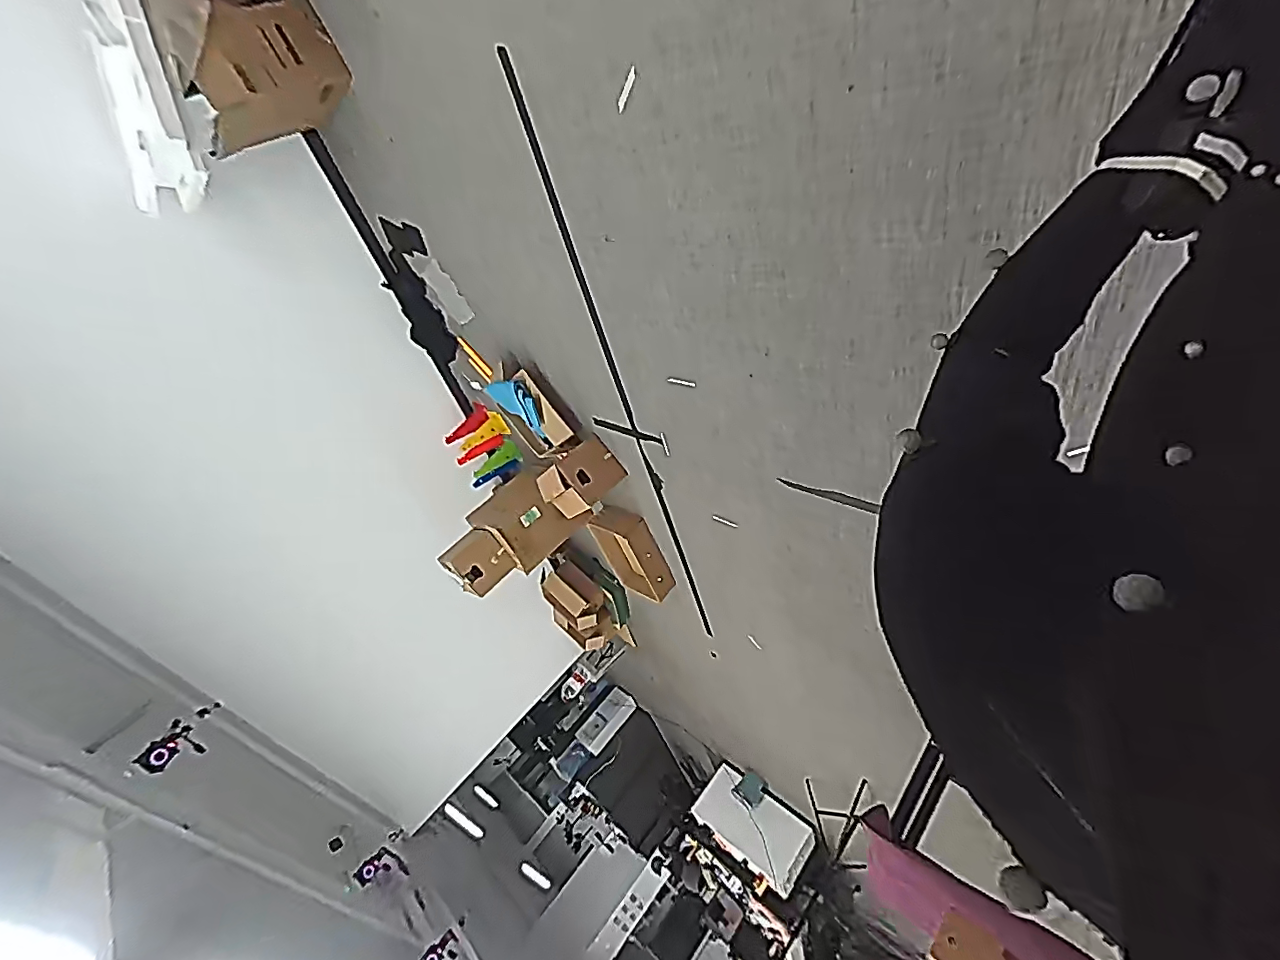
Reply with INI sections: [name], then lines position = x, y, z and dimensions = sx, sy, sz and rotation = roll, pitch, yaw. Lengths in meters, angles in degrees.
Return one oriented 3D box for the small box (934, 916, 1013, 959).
[small box]
position = 1.088, 1.580, 1.775
dimensions = 0.179, 0.176, 0.168
rotation = 21, 145, 38
